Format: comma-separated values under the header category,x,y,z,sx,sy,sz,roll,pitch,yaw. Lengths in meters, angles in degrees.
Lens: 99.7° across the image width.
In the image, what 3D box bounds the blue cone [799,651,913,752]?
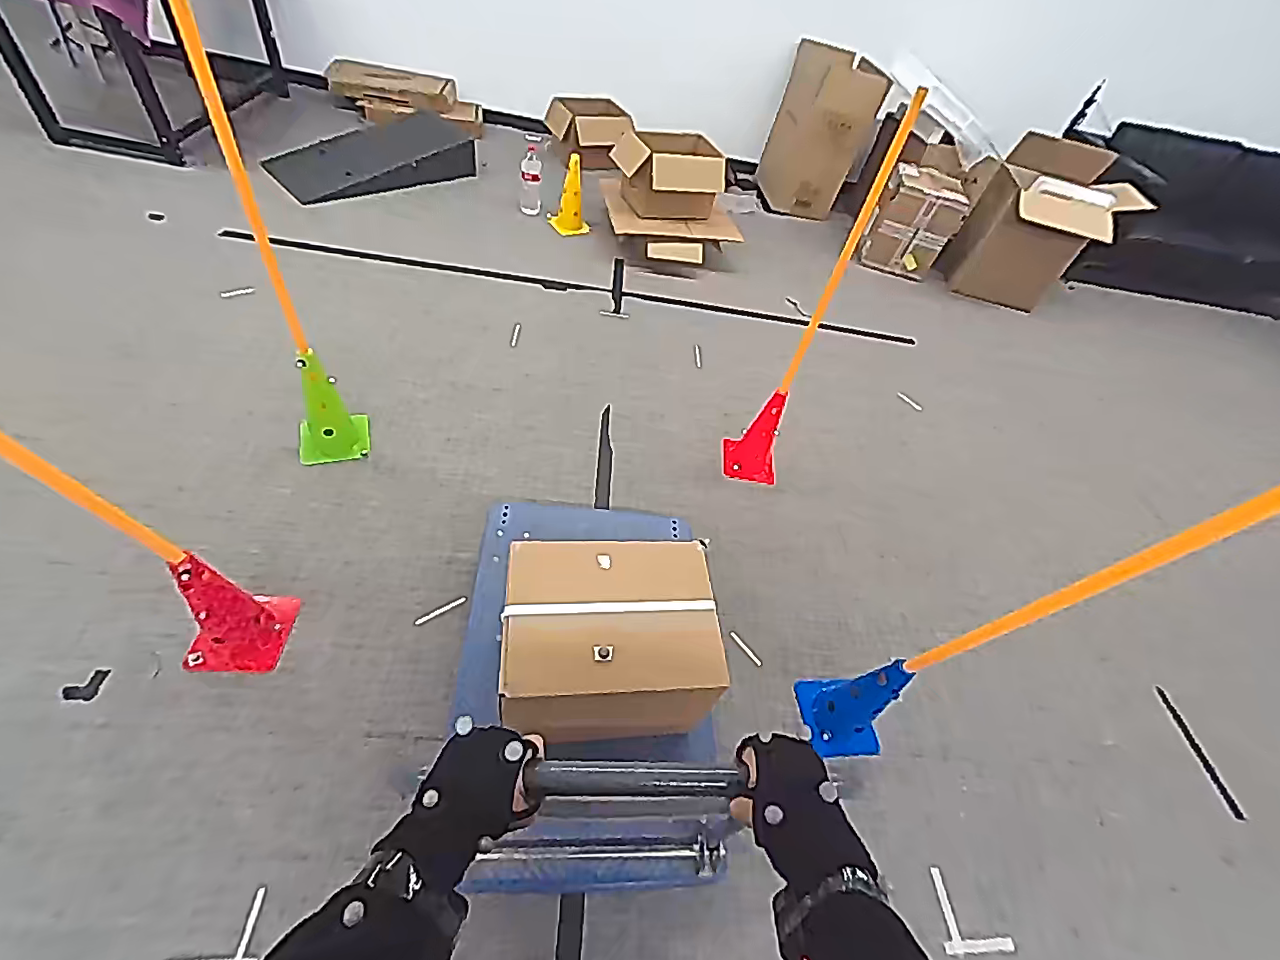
category,x,y,z,sx,sy,sz,roll,pitch,yaw
blue cone,0.573,0.535,1.358,0.193,0.380,0.192,4,49,-11

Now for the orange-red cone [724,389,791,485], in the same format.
category,x,y,z,sx,sy,sz,roll,pitch,yaw
orange-red cone,0.449,-0.179,1.911,0.199,0.360,0.198,12,49,-4
